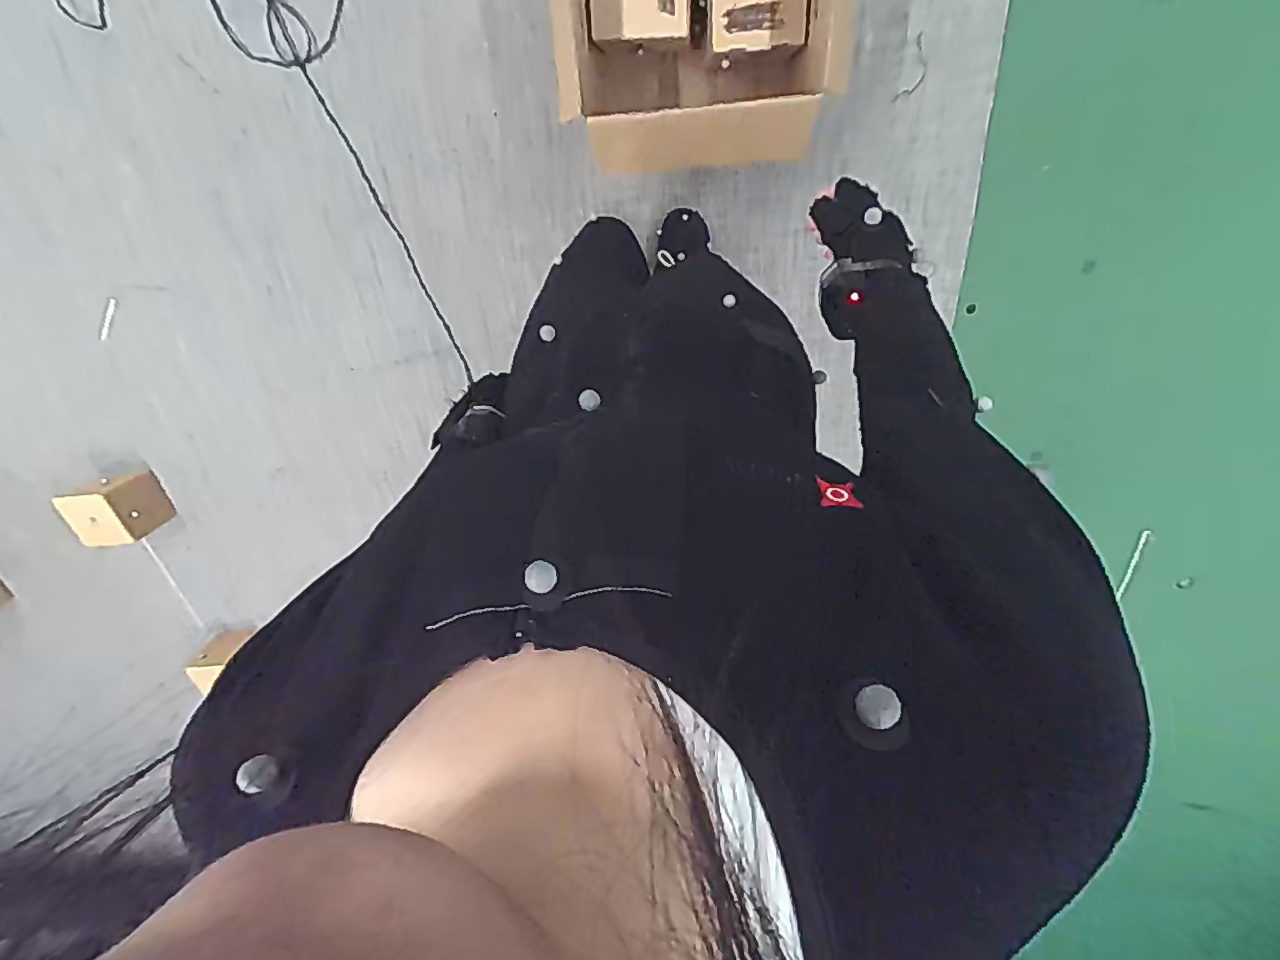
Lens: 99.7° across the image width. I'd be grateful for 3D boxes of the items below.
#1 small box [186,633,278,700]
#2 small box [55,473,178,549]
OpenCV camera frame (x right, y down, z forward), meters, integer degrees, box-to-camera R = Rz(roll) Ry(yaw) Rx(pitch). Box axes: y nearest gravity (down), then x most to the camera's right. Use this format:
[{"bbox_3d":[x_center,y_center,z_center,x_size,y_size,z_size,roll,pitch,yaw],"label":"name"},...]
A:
[{"bbox_3d":[-1.485,0.680,1.982,0.179,0.176,0.168,-5,119,6],"label":"small box"},{"bbox_3d":[-1.587,0.088,1.653,0.168,0.176,0.179,-5,120,6],"label":"small box"}]
